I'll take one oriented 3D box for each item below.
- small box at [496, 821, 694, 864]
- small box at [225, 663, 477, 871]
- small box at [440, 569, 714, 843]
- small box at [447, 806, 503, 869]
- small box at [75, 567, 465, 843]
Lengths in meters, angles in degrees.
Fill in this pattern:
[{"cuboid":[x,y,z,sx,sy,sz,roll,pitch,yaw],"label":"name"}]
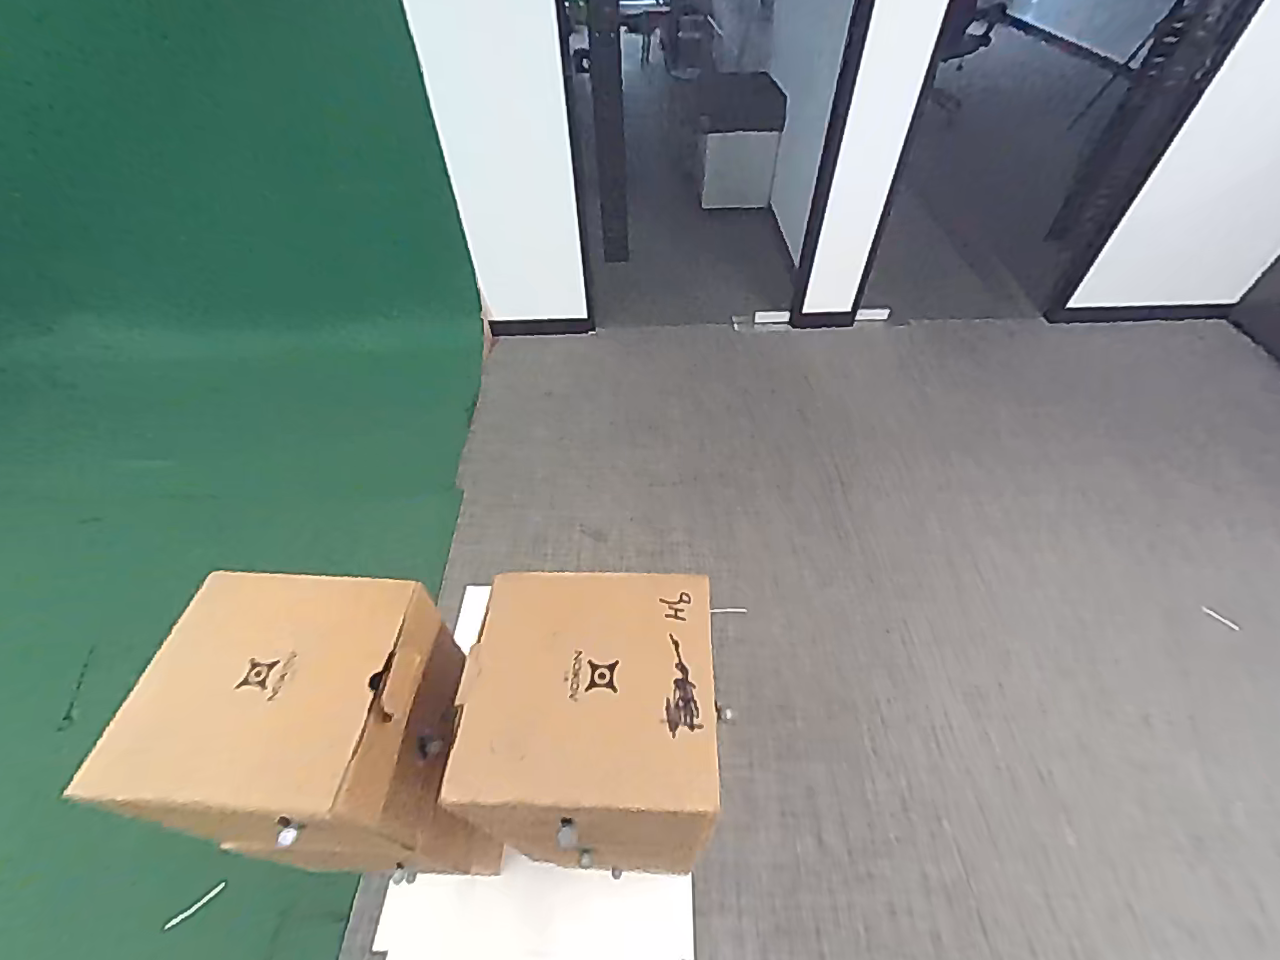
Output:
[{"cuboid":[-0.030,0.293,0.569,0.179,0.176,0.168,2,50,3],"label":"small box"},{"cuboid":[-0.265,0.300,0.569,0.179,0.176,0.168,0,49,1],"label":"small box"},{"cuboid":[-0.032,0.188,0.443,0.179,0.176,0.168,-1,50,4],"label":"small box"},{"cuboid":[-0.264,0.393,0.703,0.168,0.176,0.179,2,50,0],"label":"small box"},{"cuboid":[-0.267,0.189,0.449,0.179,0.176,0.168,3,49,1],"label":"small box"}]
